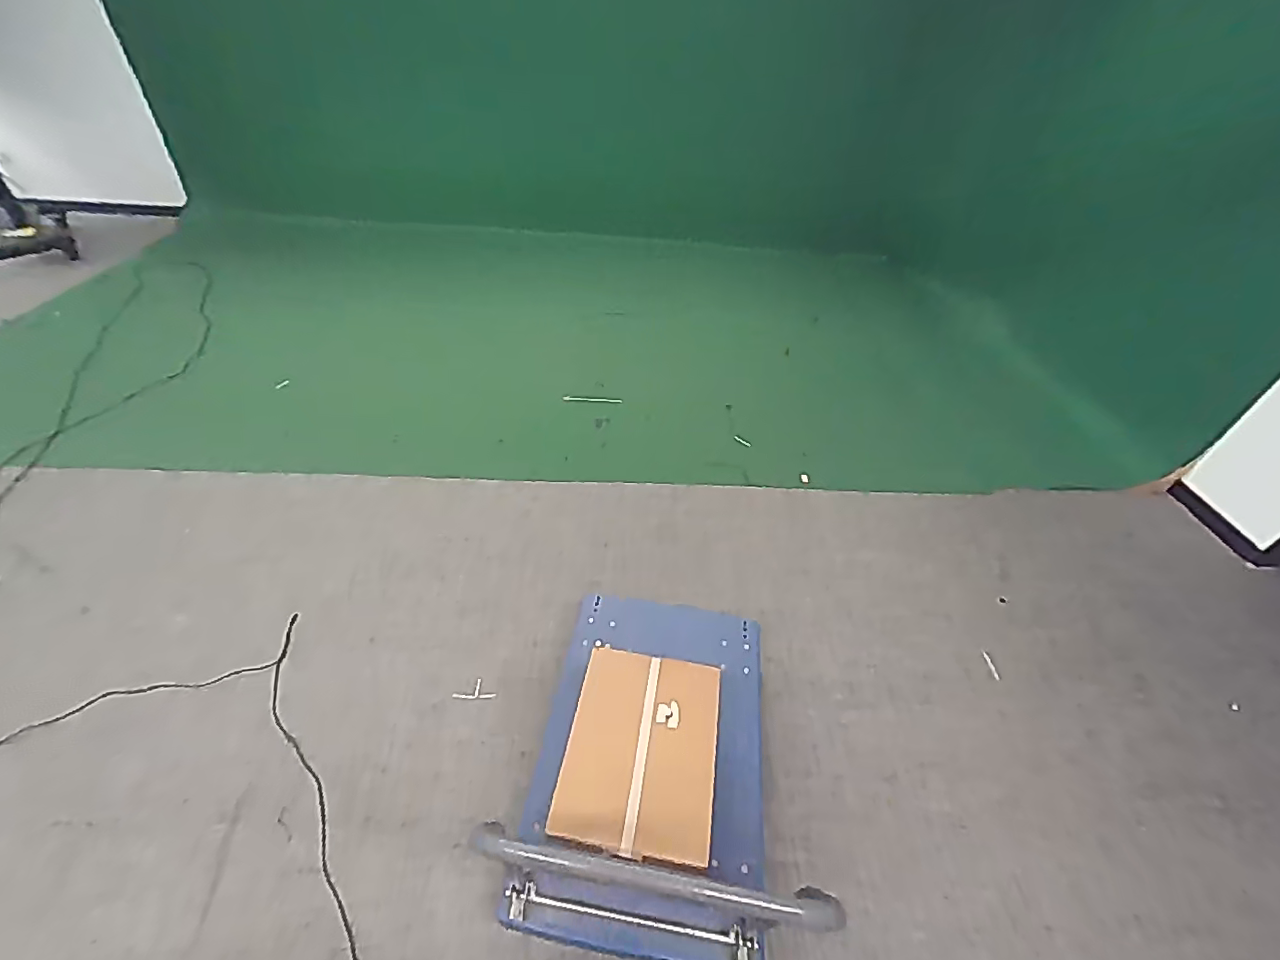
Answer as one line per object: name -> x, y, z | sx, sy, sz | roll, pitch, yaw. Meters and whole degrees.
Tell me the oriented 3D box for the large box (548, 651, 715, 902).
large box -> -0.007, 0.677, 1.257 | 0.320, 0.320, 0.408 | 9, 41, 4
